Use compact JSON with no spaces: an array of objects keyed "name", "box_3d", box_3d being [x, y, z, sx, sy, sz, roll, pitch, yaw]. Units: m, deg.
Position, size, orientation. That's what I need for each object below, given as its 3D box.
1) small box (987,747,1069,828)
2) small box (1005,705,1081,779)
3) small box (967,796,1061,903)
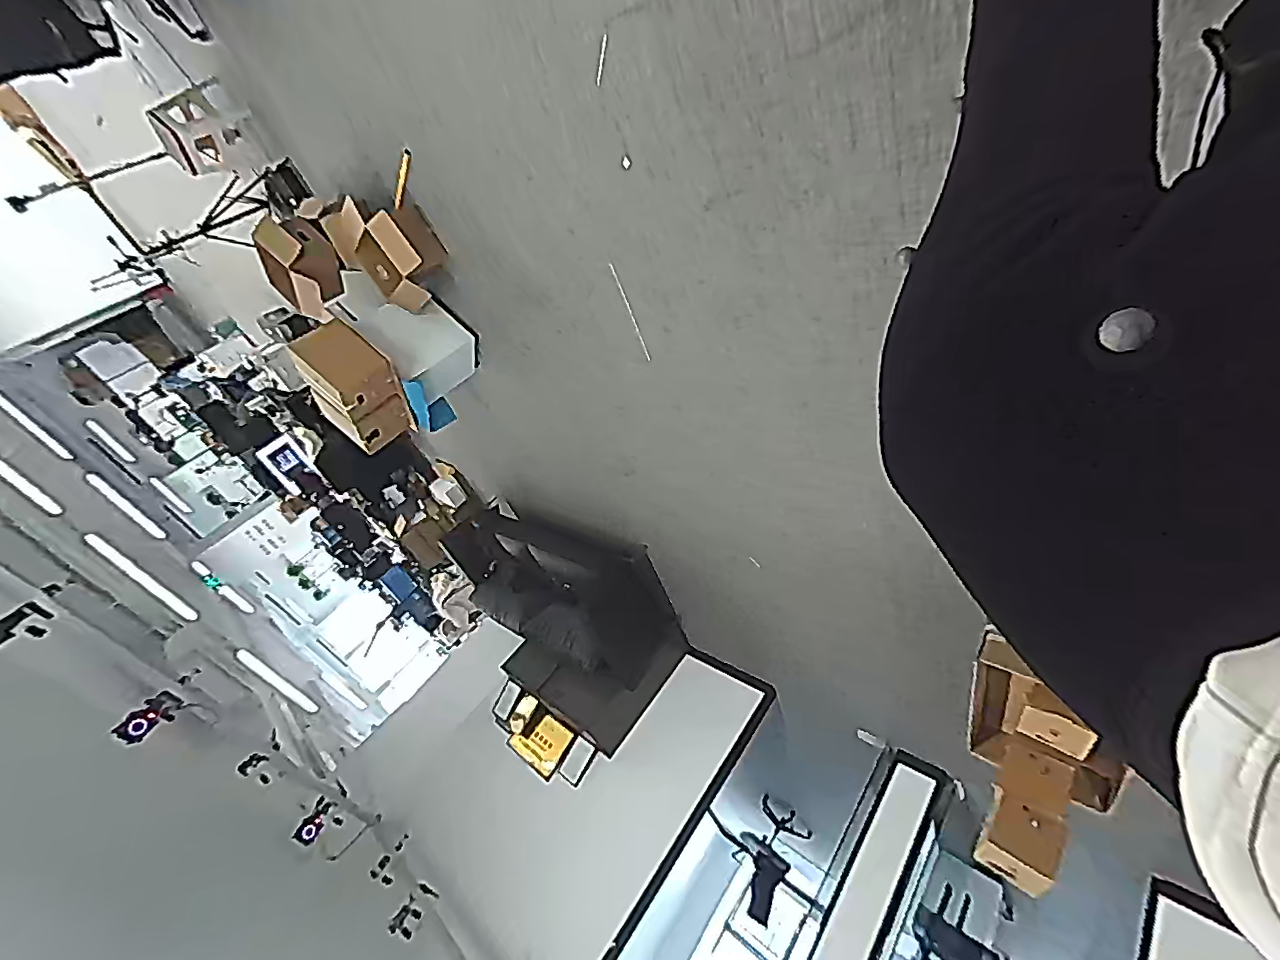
[{"name":"small box","box_3d":[1.173,0.954,1.635,0.168,0.176,0.179,16,138,42]},{"name":"small box","box_3d":[1.275,0.859,1.717,0.168,0.176,0.179,15,138,41]},{"name":"small box","box_3d":[1.074,1.057,1.553,0.168,0.176,0.179,23,142,35]}]
